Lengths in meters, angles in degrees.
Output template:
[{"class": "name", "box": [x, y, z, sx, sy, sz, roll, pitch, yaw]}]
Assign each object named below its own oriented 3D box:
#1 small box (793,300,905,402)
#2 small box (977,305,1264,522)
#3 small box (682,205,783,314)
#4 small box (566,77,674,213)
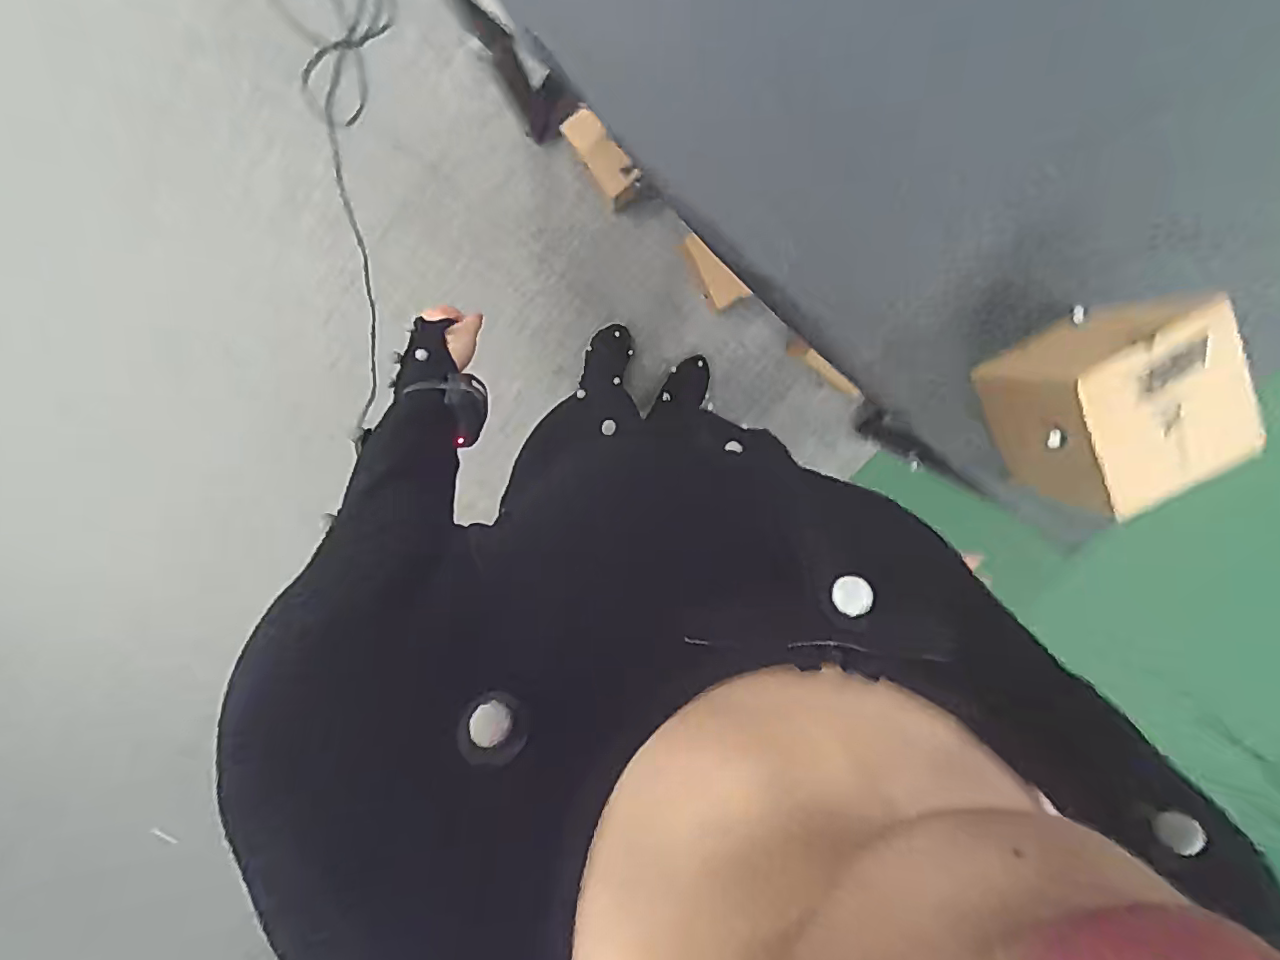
[{"class": "small box", "box": [0.500, -0.317, 1.328, 0.168, 0.176, 0.179, 34, 103, -10]}, {"class": "small box", "box": [0.541, -0.080, 0.634, 0.168, 0.176, 0.179, -28, 102, 5]}, {"class": "small box", "box": [0.212, -0.509, 1.276, 0.168, 0.176, 0.179, -29, 102, 7]}, {"class": "small box", "box": [-0.042, -0.736, 1.213, 0.168, 0.176, 0.179, -36, 102, 9]}]
